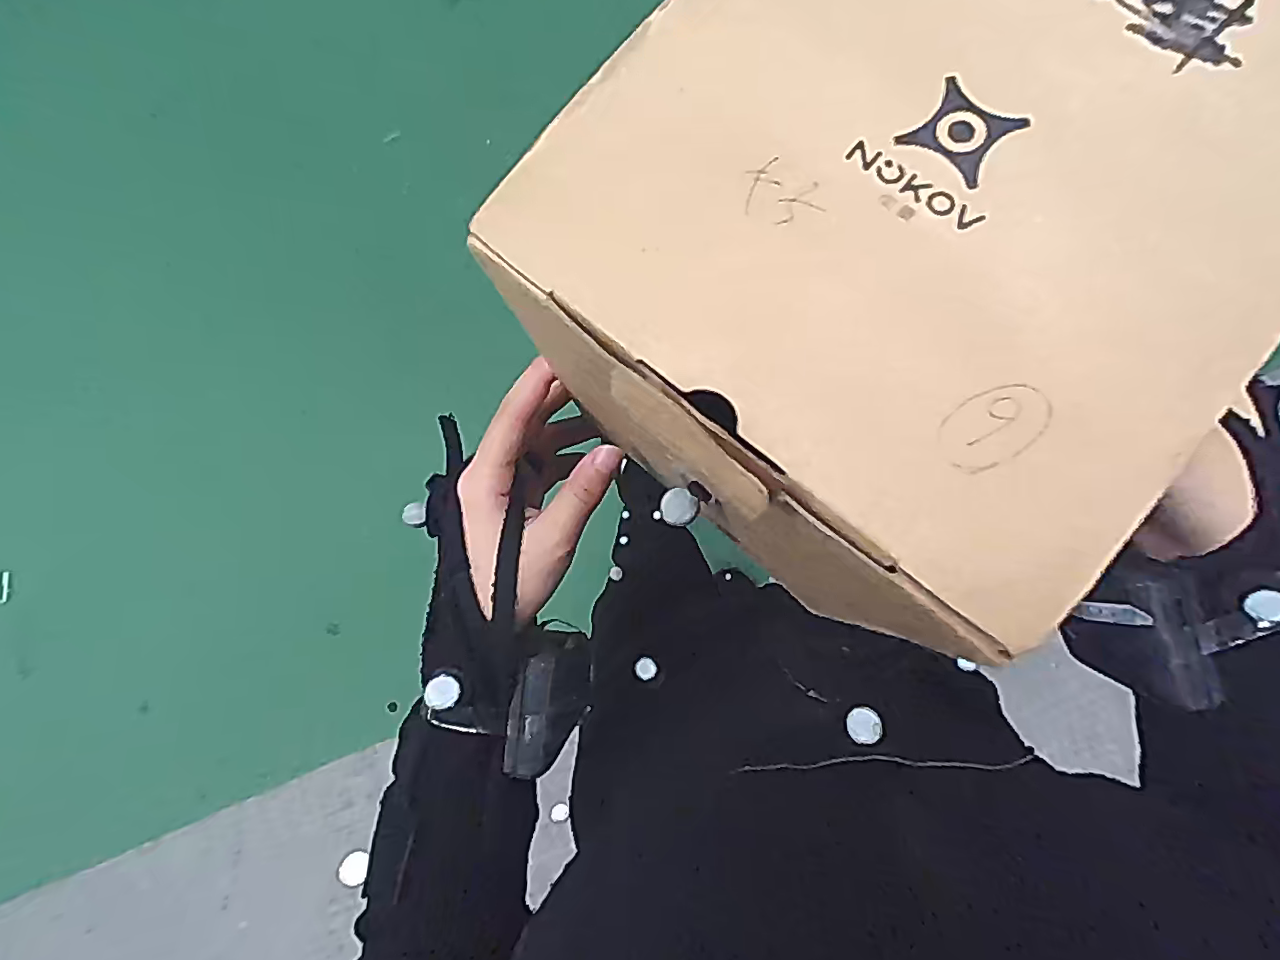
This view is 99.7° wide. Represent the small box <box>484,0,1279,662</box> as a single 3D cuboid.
[{"bbox_3d":[0.078,-0.057,0.223,0.168,0.176,0.179,40,86,11],"label":"small box"}]
